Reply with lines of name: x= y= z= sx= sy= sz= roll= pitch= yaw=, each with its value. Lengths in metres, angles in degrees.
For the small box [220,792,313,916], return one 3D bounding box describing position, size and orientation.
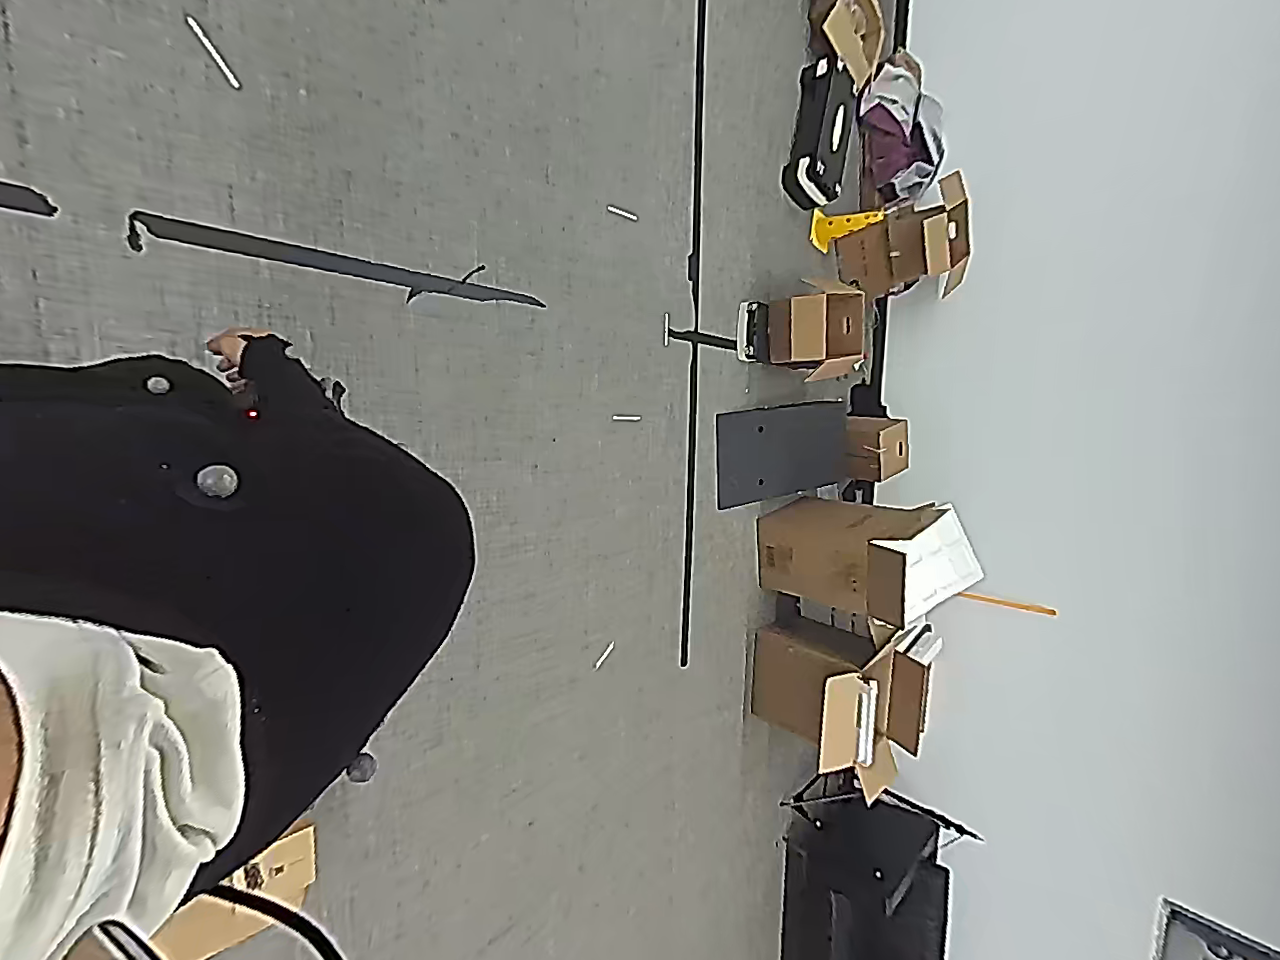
small box: x=-0.975 y=0.960 z=1.407 sx=0.179 sy=0.176 sz=0.168 roll=-4 pitch=99 yaw=-45
